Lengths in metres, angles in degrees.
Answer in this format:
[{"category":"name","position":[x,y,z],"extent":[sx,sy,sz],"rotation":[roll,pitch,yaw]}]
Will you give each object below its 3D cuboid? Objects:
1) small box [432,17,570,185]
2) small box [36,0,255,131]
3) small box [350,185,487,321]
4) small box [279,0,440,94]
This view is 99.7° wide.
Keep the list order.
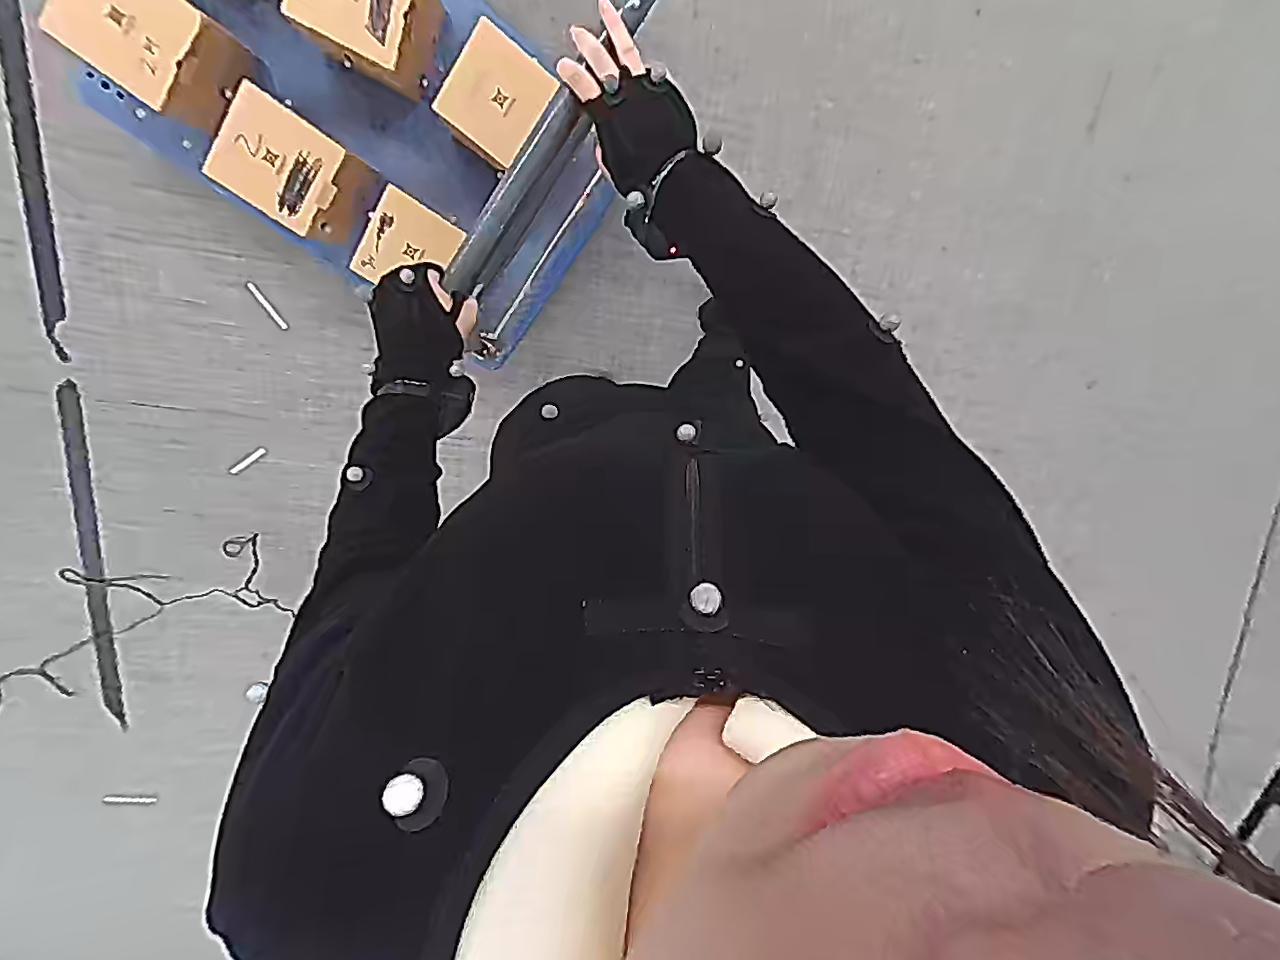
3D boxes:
[{"category":"small box","position":[-0.243,-0.668,0.986],"extent":[0.179,0.176,0.168],"rotation":[34,101,-17]},{"category":"small box","position":[-0.791,-0.717,0.887],"extent":[0.179,0.176,0.168],"rotation":[35,102,-19]},{"category":"small box","position":[-0.413,-0.431,1.043],"extent":[0.179,0.176,0.168],"rotation":[30,102,-17]},{"category":"small box","position":[-0.457,-0.791,0.909],"extent":[0.179,0.176,0.168],"rotation":[21,105,-13]}]
